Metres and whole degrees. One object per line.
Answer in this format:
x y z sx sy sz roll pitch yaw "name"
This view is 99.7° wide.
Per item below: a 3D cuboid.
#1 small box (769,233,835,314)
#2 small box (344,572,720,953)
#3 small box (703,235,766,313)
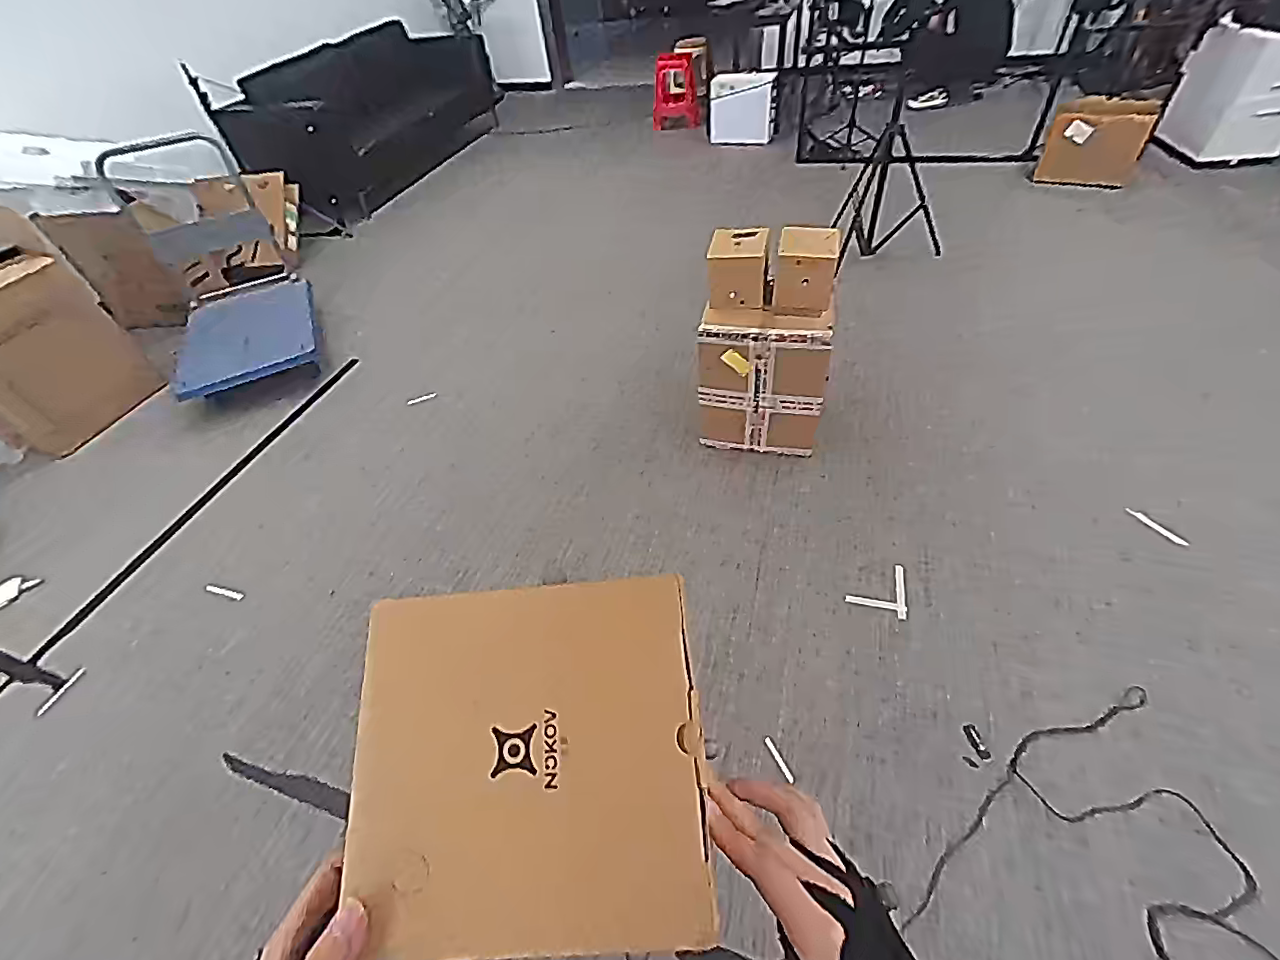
0.485 -0.624 1.626 0.168 0.176 0.179 9 51 12 "small box"
-0.048 0.164 0.345 0.179 0.176 0.168 -6 67 2 "small box"
0.294 -0.636 1.669 0.168 0.176 0.179 5 50 16 "small box"
